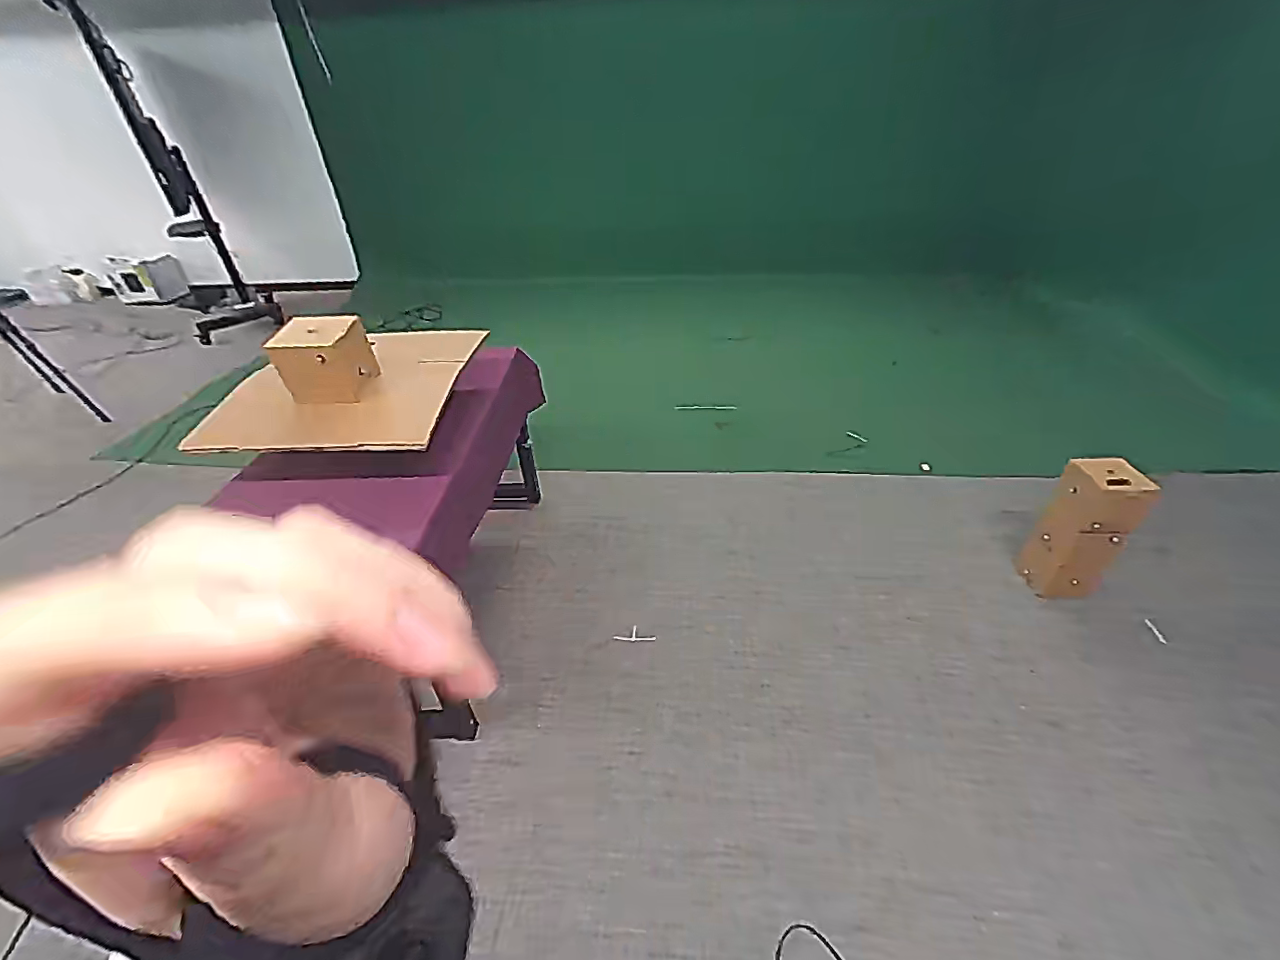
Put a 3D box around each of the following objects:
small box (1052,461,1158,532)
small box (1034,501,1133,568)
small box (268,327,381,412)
[{"bbox_3d":[1.488,0.057,1.744,0.168,0.176,0.179,-1,35,4],"label":"small box"},{"bbox_3d":[1.502,0.185,1.845,0.179,0.176,0.168,-3,35,3],"label":"small box"},{"bbox_3d":[-0.826,-0.292,1.438,0.179,0.176,0.168,-1,42,1],"label":"small box"}]
